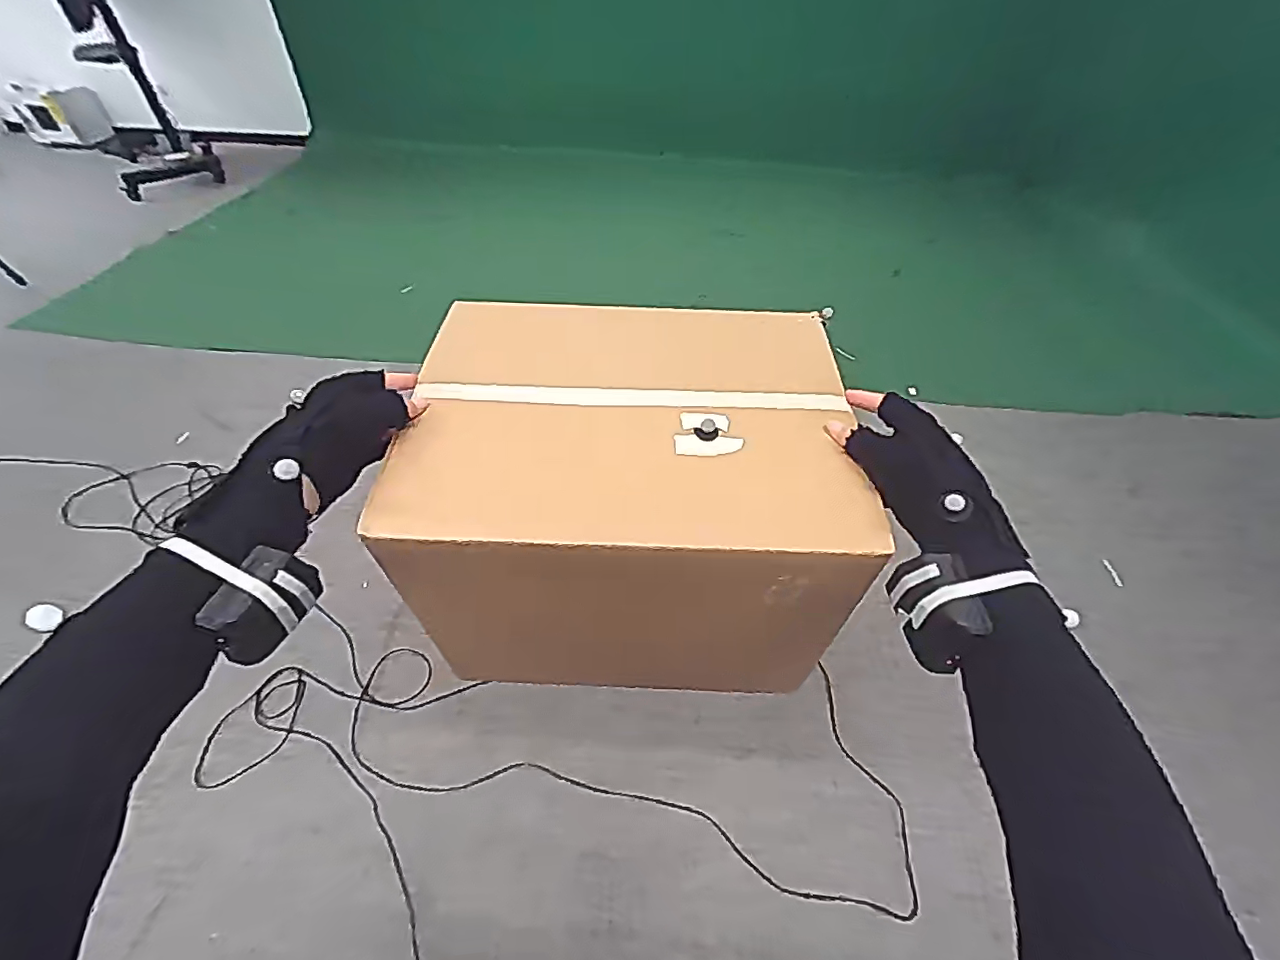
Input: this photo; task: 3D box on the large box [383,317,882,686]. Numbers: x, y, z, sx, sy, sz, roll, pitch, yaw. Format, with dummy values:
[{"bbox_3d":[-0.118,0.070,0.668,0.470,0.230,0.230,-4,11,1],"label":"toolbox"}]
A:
[{"bbox_3d":[-0.009,0.032,0.631,0.408,0.320,0.320,2,50,0],"label":"large box"}]
